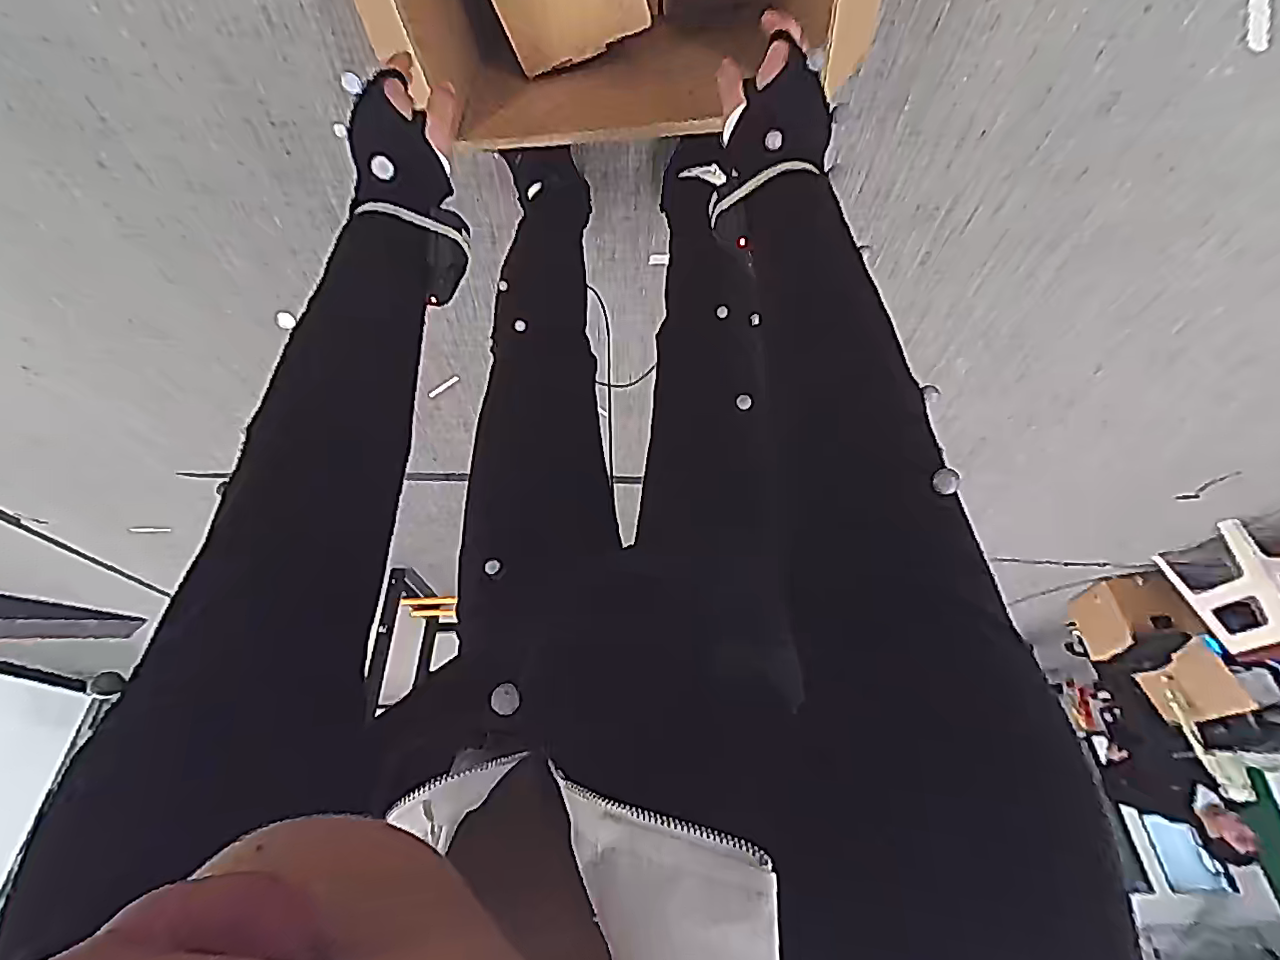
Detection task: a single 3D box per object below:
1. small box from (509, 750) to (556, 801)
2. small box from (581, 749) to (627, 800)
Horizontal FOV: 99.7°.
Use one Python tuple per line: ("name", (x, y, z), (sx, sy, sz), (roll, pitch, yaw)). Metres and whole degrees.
("small box", (-0.428, 1.194, 2.180), (0.168, 0.176, 0.179), (0, 148, -4))
("small box", (-0.143, 1.192, 2.186), (0.179, 0.176, 0.168), (0, 149, -2))
